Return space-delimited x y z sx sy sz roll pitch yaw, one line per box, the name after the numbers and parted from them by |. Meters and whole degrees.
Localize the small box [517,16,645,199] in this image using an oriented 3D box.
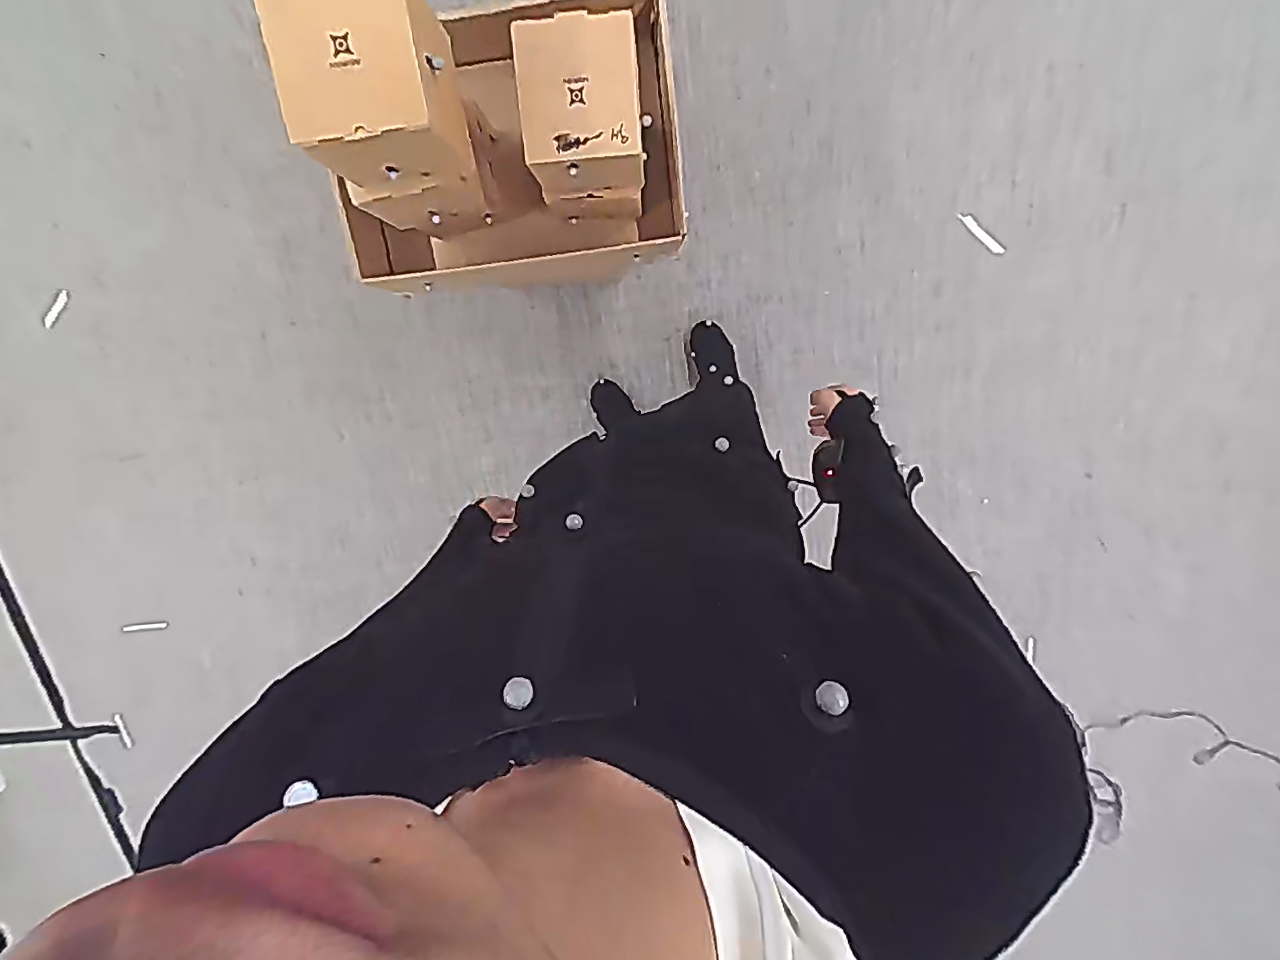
-0.079 -0.548 0.817 0.168 0.176 0.179 -3 103 3 | small box

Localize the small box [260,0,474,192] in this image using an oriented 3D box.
-0.324 -0.488 0.676 0.168 0.176 0.179 -8 104 1 | small box

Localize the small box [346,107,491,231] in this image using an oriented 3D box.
-0.349 -0.509 0.839 0.168 0.176 0.179 -11 104 3 | small box
